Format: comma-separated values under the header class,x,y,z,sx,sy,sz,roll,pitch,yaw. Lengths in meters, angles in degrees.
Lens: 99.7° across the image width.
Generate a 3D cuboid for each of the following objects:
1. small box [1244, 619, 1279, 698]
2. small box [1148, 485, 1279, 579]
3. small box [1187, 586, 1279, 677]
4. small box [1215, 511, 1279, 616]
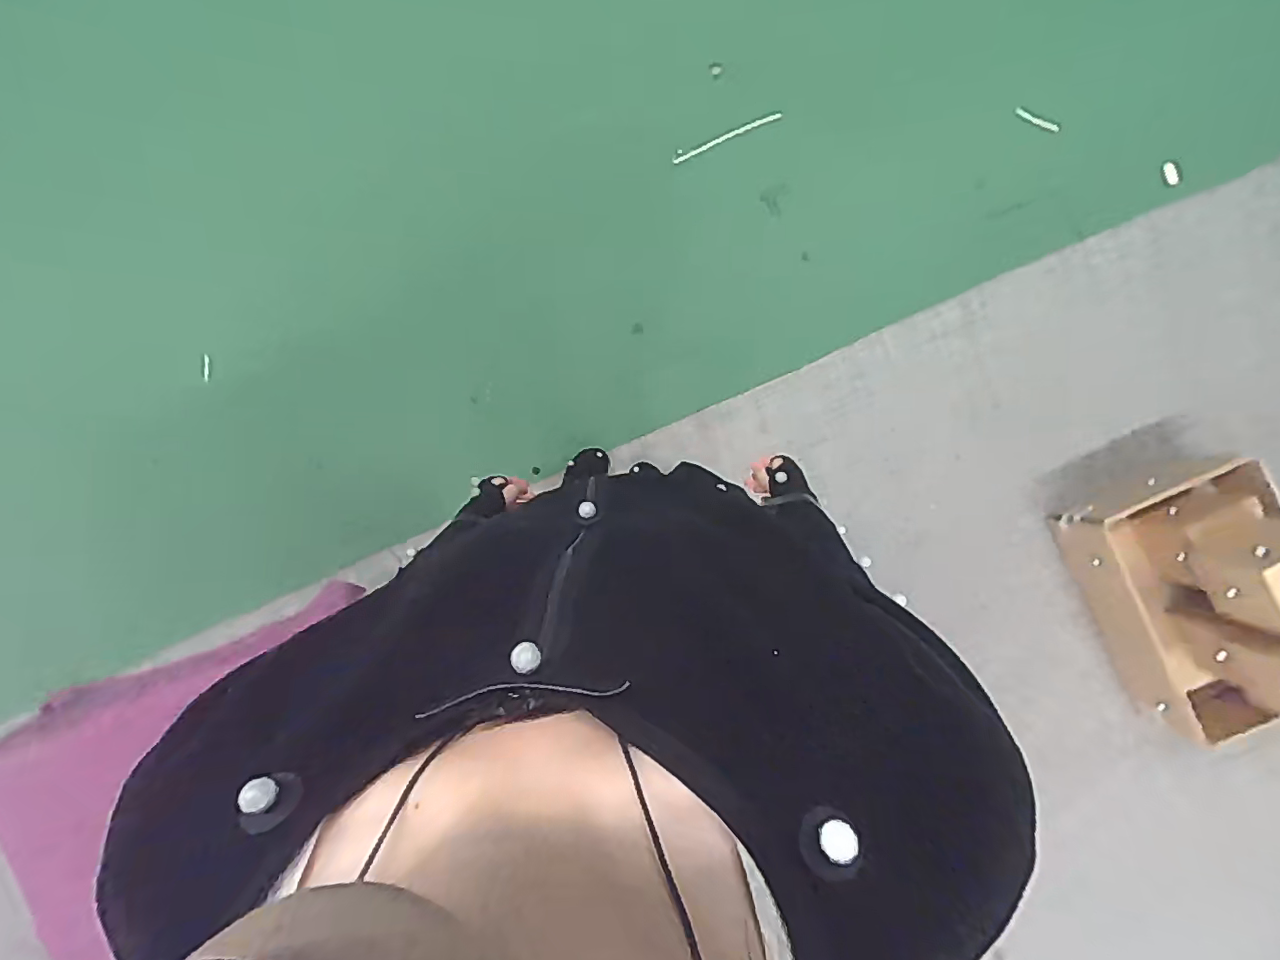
class,x,y,z,sx,sy,sz,roll,pitch,yaw
small box,1.473,0.386,1.142,0.179,0.176,0.168,-28,89,5
small box,1.396,0.121,1.300,0.168,0.176,0.179,-29,92,6
small box,1.503,0.363,1.304,0.168,0.176,0.179,-32,90,6
small box,1.390,0.183,1.141,0.179,0.176,0.168,-31,92,6
